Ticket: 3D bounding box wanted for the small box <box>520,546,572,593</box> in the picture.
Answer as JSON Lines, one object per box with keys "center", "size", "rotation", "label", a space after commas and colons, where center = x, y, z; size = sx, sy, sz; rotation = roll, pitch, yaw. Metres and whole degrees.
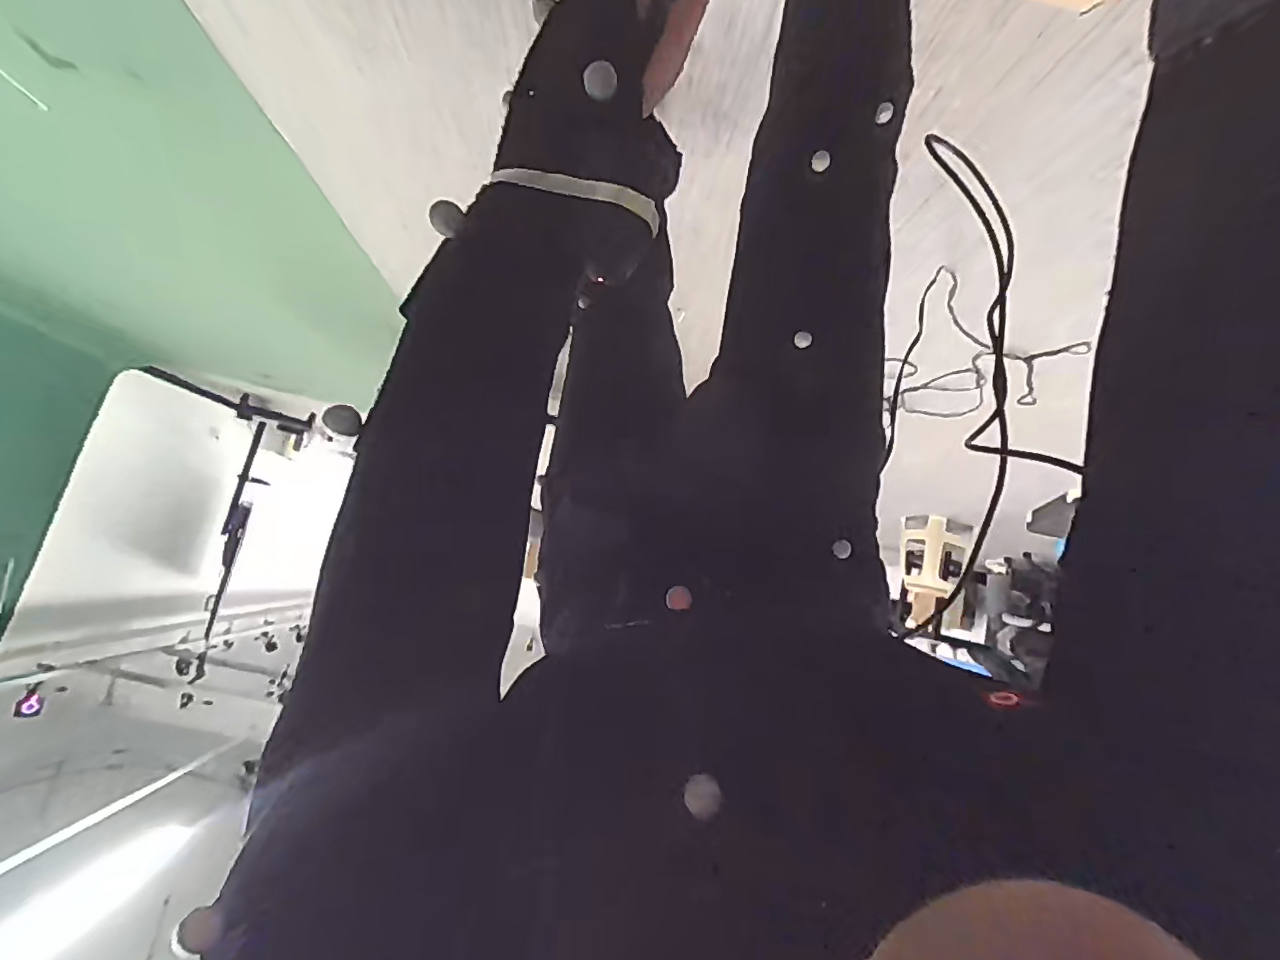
{"center": [-0.401, 0.385, 2.332], "size": [0.168, 0.176, 0.179], "rotation": [11, 169, 3], "label": "small box"}
